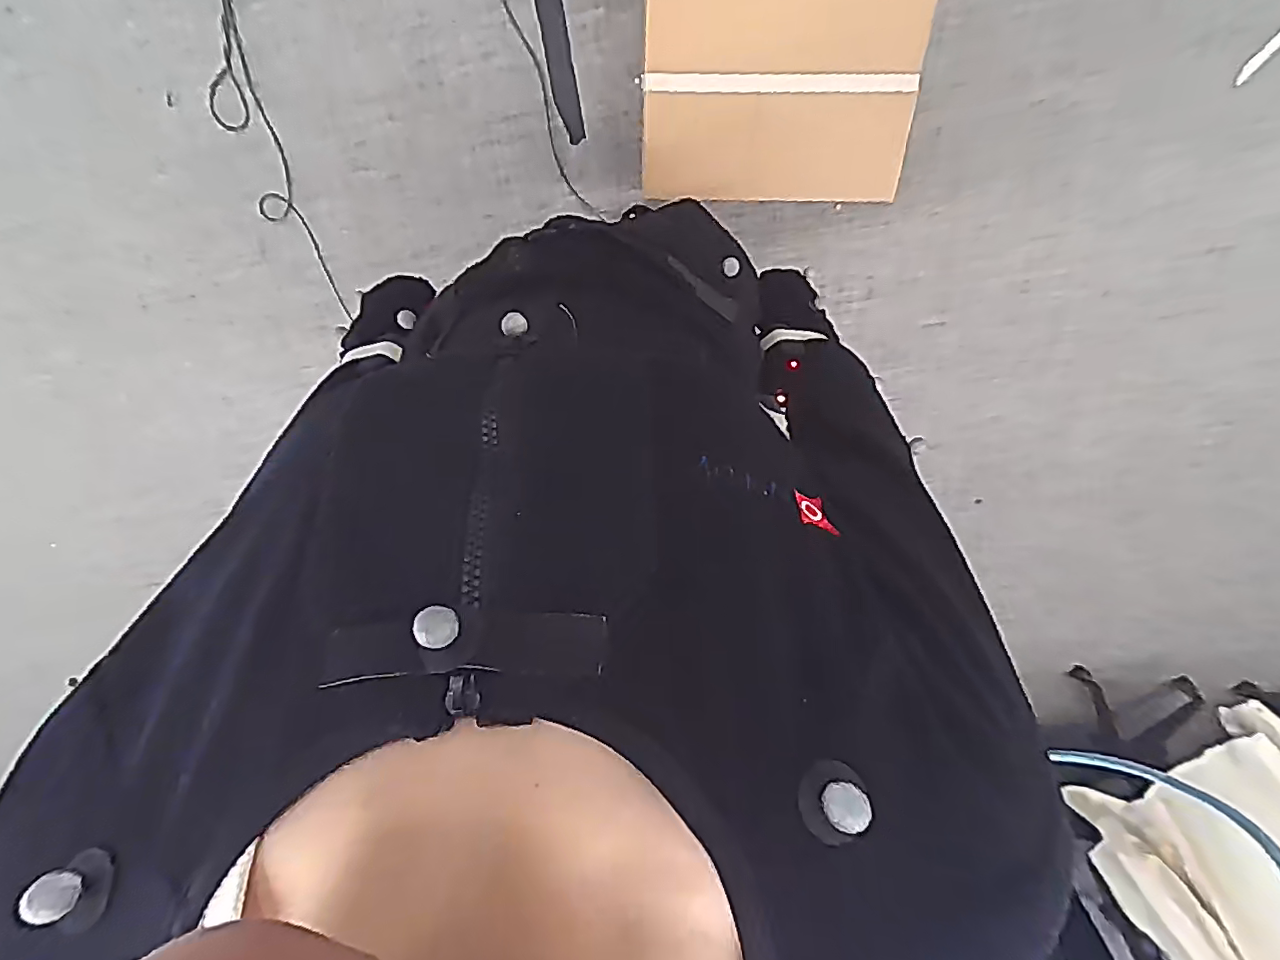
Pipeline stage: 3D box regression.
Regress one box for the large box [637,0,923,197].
[{"bbox_3d":[0.198,-0.672,0.923,0.408,0.320,0.320,1,121,0],"label":"large box"}]
